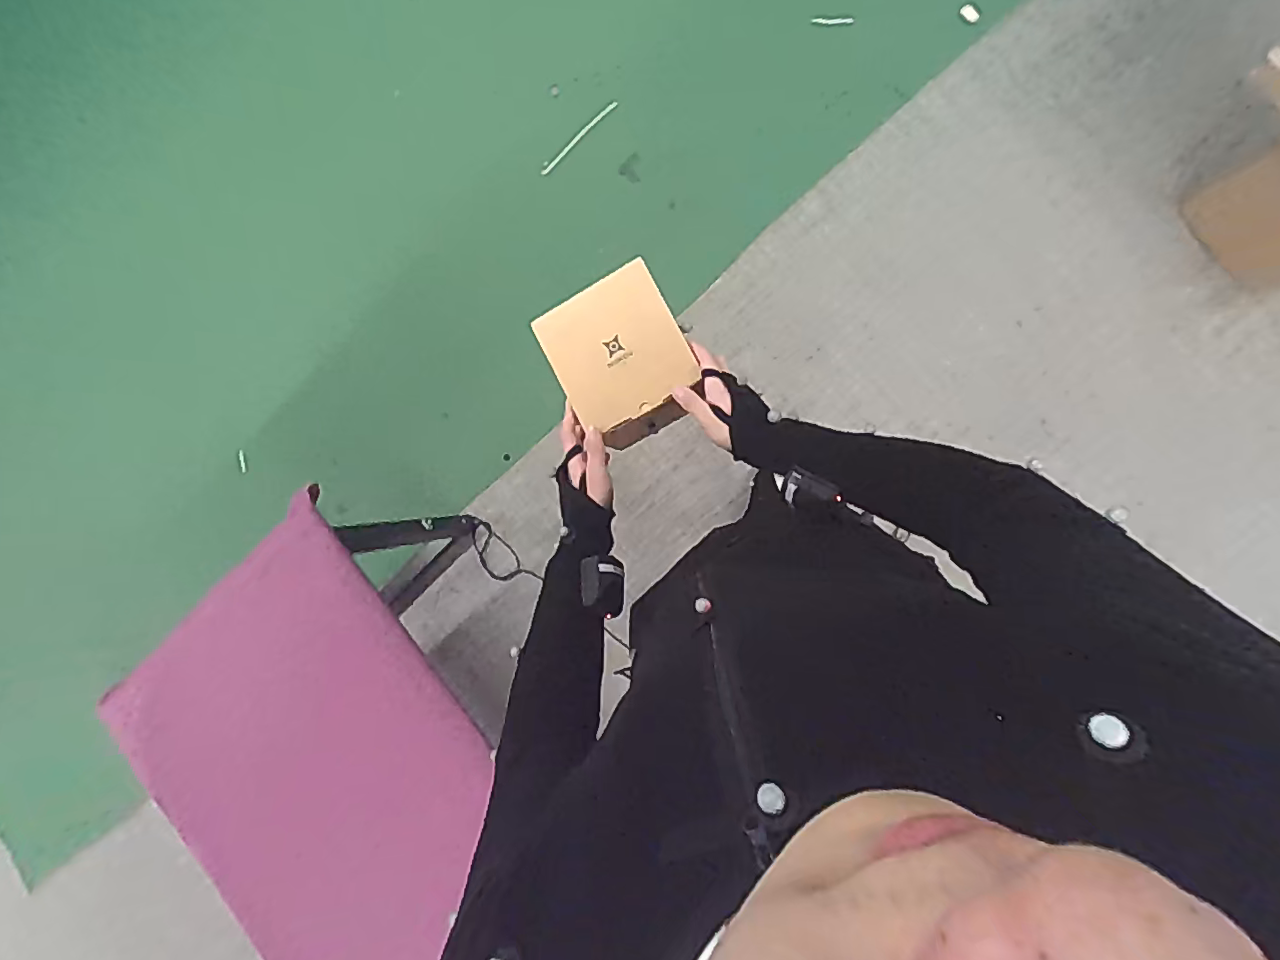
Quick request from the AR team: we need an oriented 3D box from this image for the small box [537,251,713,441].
[{"bbox_3d":[-0.011,-0.167,0.737,0.168,0.176,0.179,-27,86,8],"label":"small box"}]
